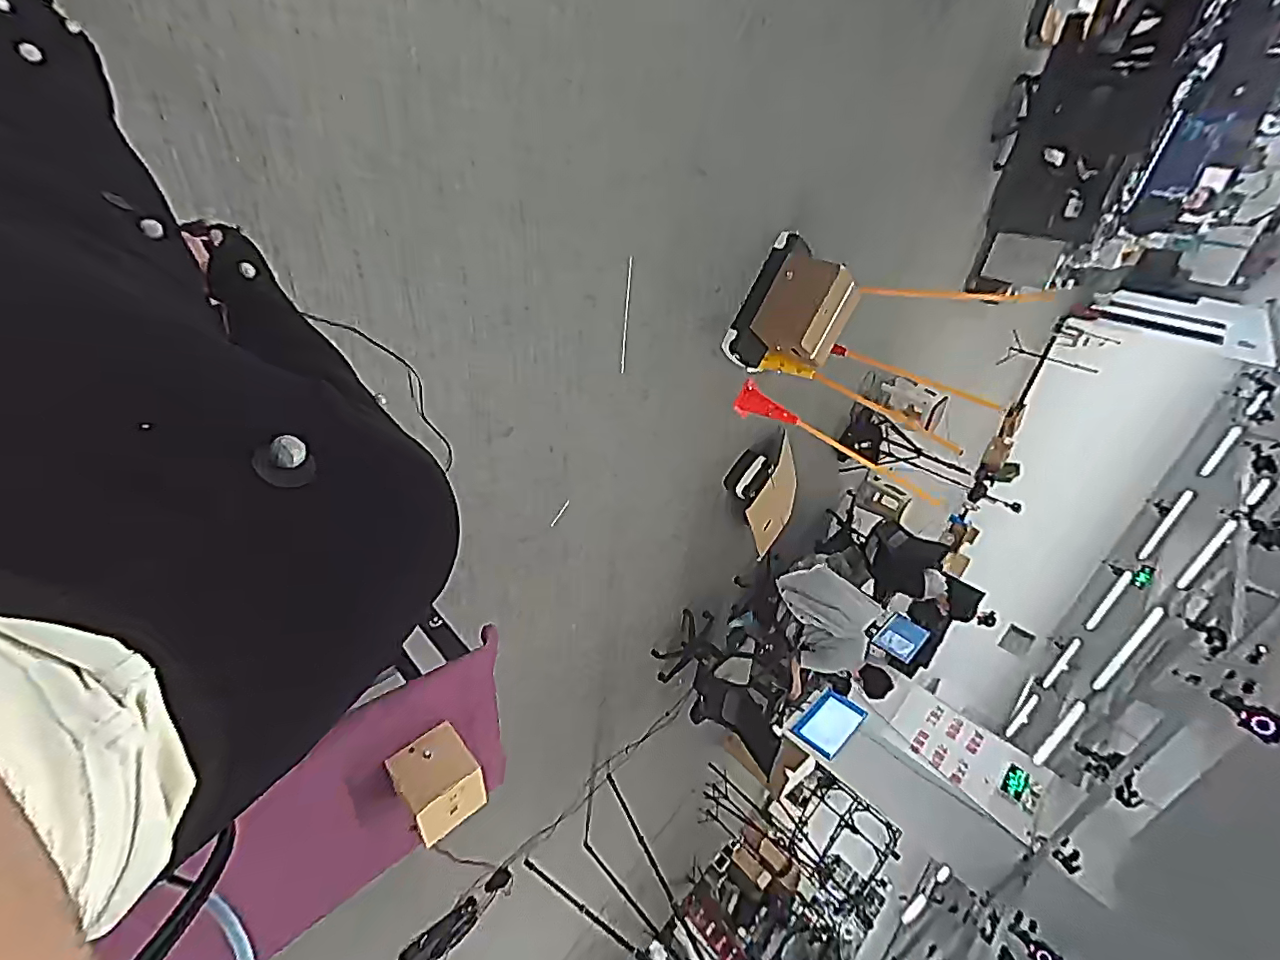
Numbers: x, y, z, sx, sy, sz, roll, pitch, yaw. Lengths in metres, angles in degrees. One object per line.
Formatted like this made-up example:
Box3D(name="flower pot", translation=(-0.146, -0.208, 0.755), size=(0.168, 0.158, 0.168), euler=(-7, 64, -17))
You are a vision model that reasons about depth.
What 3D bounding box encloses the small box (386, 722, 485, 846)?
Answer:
Box3D(name="small box", translation=(-0.507, 0.750, 1.350), size=(0.168, 0.176, 0.179), euler=(-26, 134, -37))
